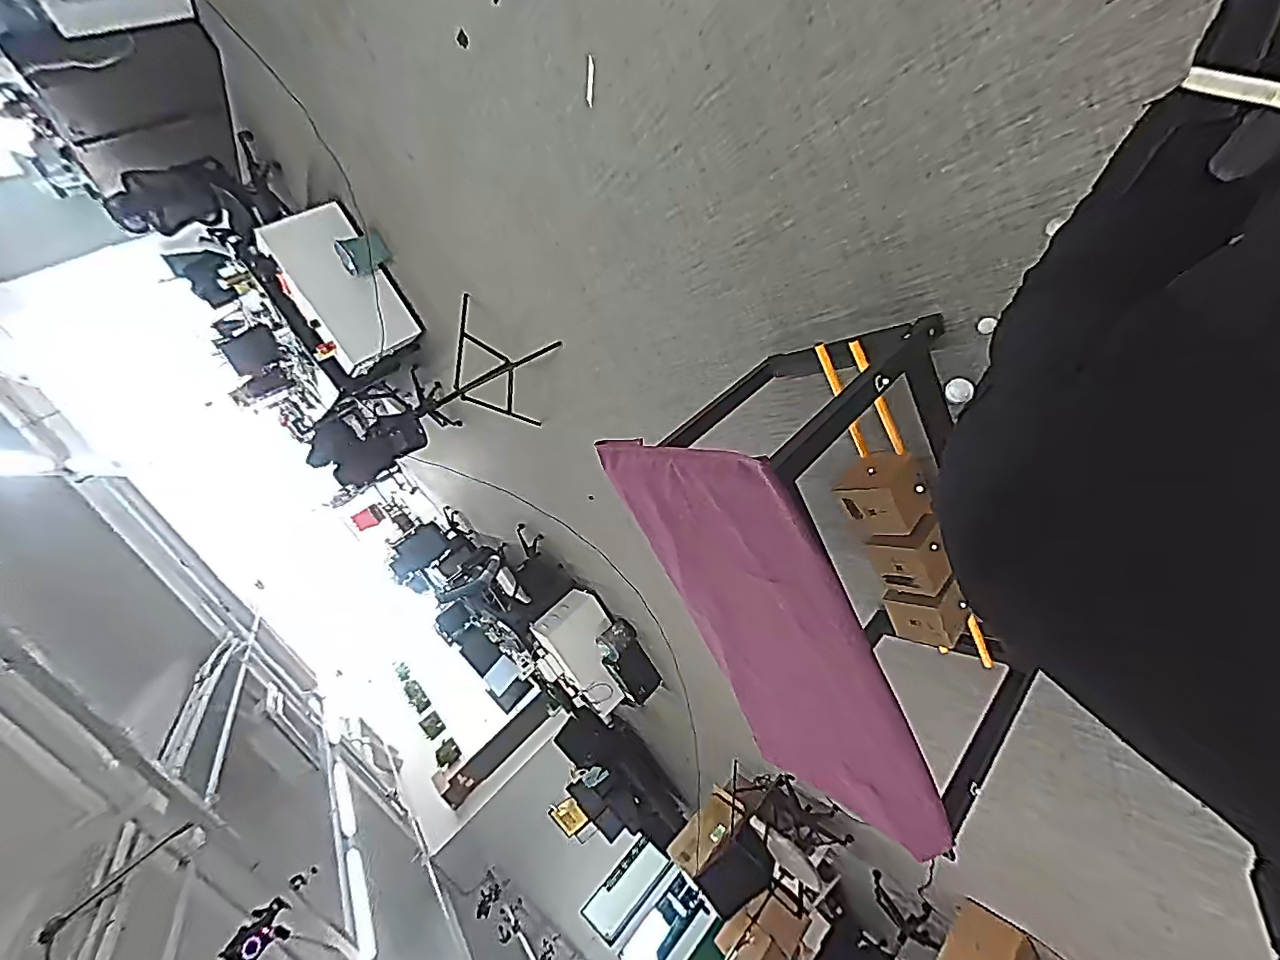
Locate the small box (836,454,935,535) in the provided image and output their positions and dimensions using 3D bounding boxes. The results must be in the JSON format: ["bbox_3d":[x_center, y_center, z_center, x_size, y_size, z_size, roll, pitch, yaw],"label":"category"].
[{"bbox_3d":[0.707,0.041,1.553,0.179,0.176,0.168,-5,121,56],"label":"small box"}]

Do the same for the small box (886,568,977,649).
[{"bbox_3d":[0.909,0.392,1.684,0.179,0.176,0.168,-2,123,55],"label":"small box"}]
